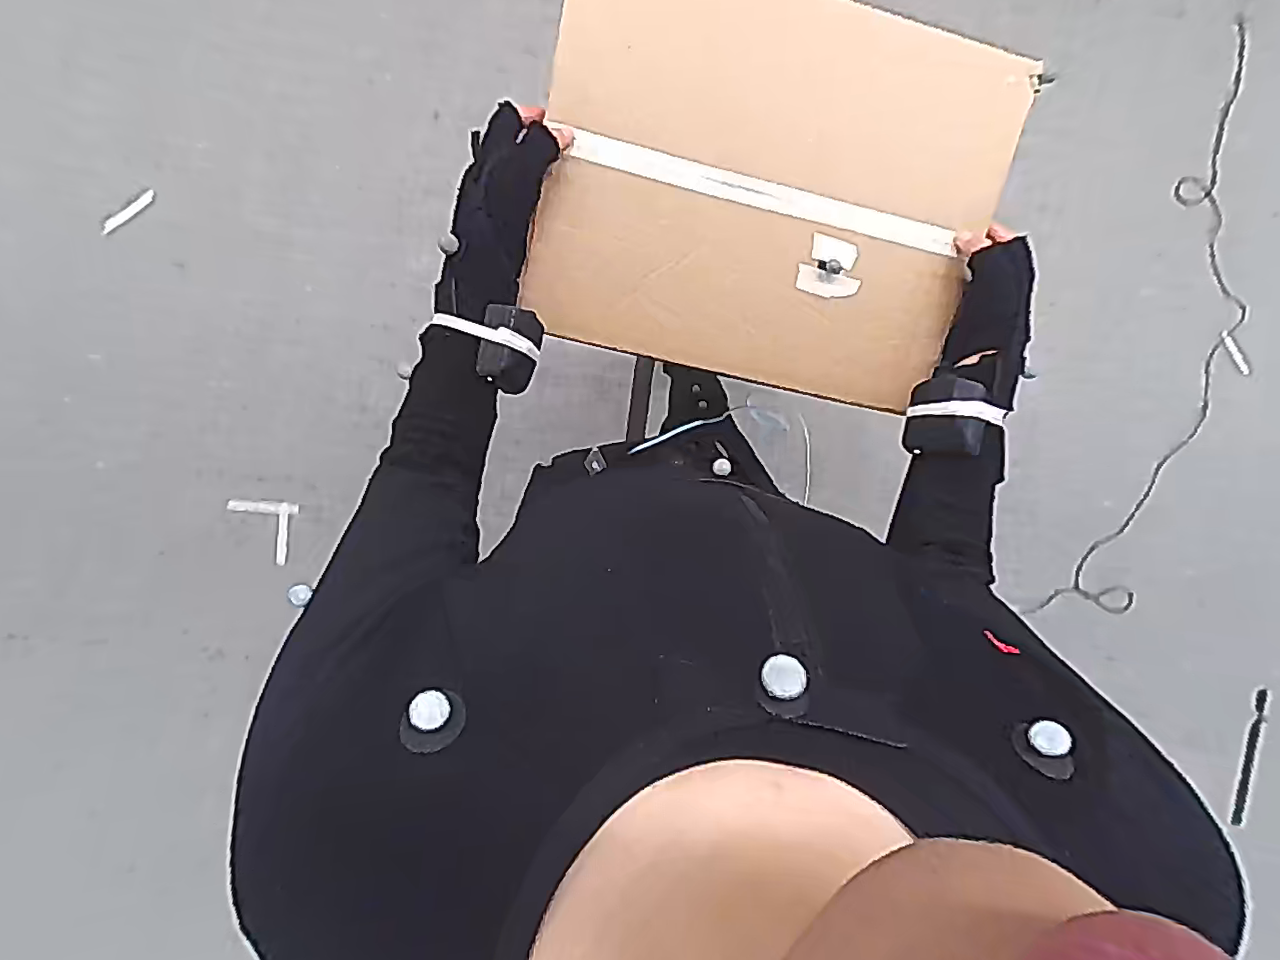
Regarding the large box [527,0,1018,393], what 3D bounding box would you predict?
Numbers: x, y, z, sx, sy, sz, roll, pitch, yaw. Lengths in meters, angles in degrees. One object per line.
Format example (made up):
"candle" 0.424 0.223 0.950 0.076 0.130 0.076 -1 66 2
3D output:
"large box" 0.102 -0.303 0.633 0.408 0.320 0.320 11 105 -8
